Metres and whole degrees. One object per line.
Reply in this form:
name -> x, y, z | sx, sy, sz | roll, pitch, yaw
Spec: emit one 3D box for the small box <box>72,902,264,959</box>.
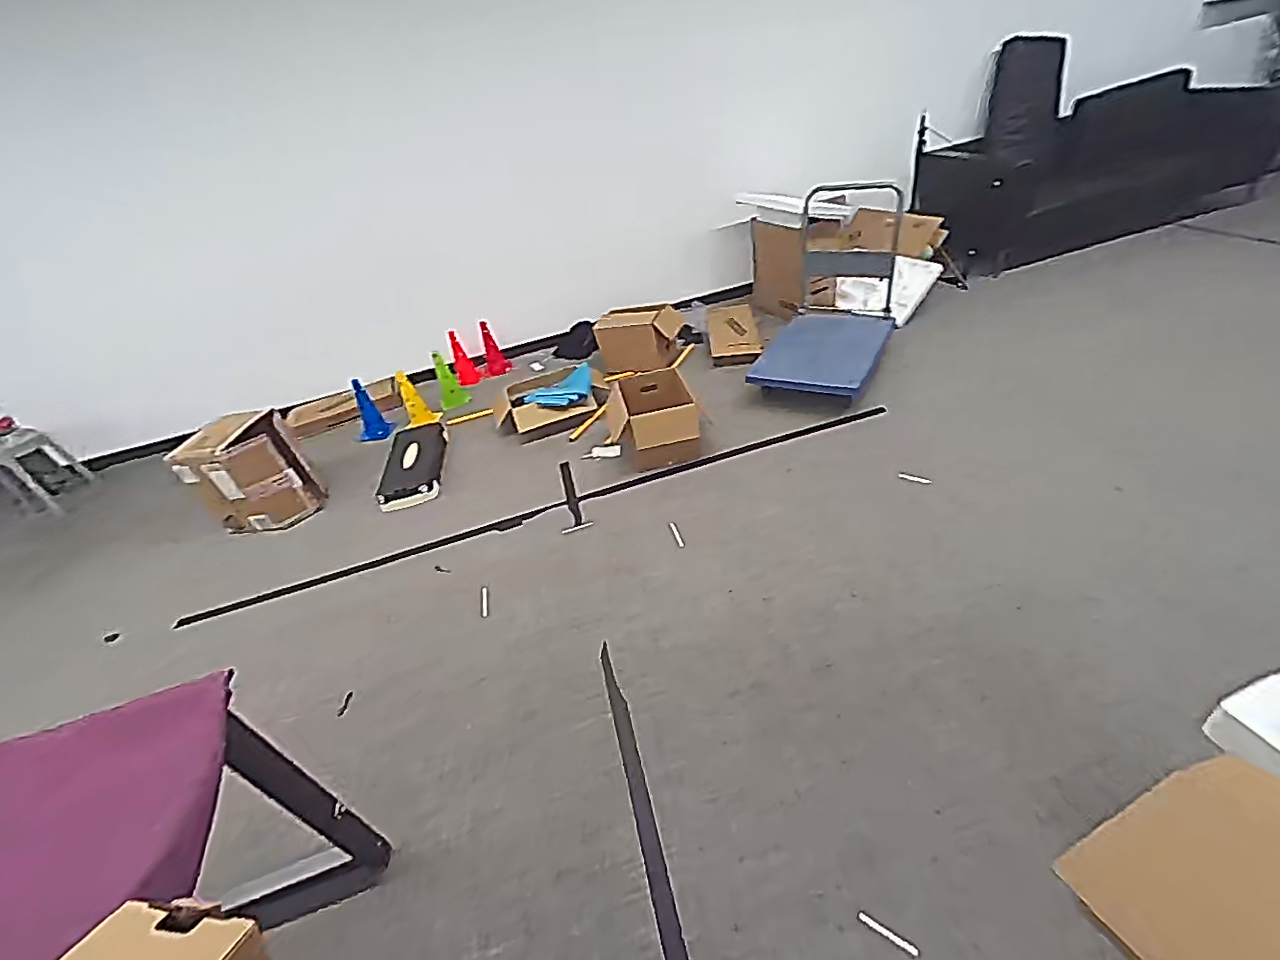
small box -> -0.440, 0.522, 0.464 | 0.168, 0.176, 0.179 | -3, 12, 14
